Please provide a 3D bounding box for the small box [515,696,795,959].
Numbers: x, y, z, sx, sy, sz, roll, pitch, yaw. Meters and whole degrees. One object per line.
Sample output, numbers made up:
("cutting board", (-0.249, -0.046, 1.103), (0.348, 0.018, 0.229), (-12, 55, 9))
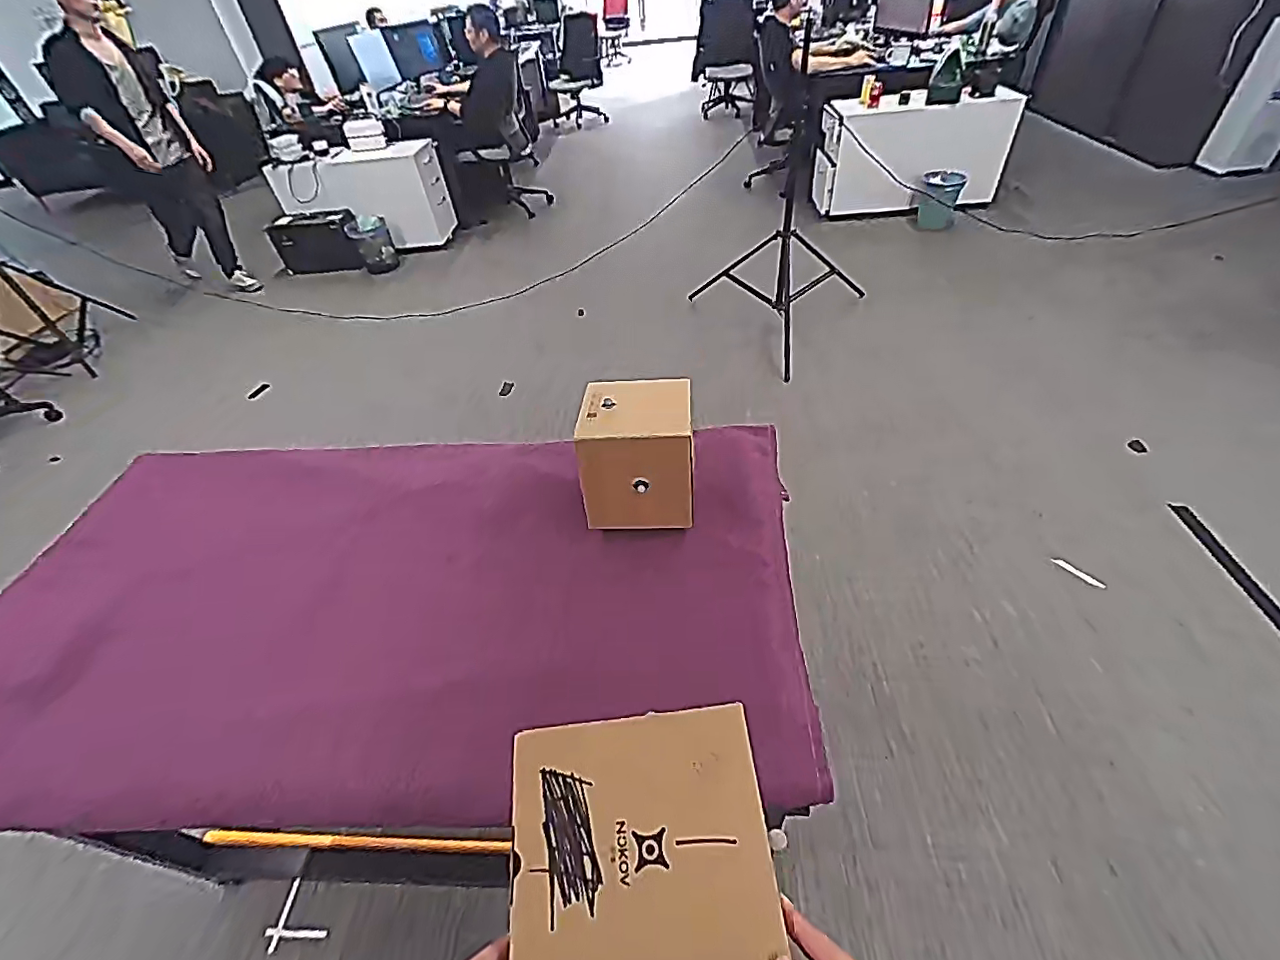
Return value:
("small box", (0.015, 0.285, 0.431), (0.179, 0.176, 0.168), (-10, 56, 5))
